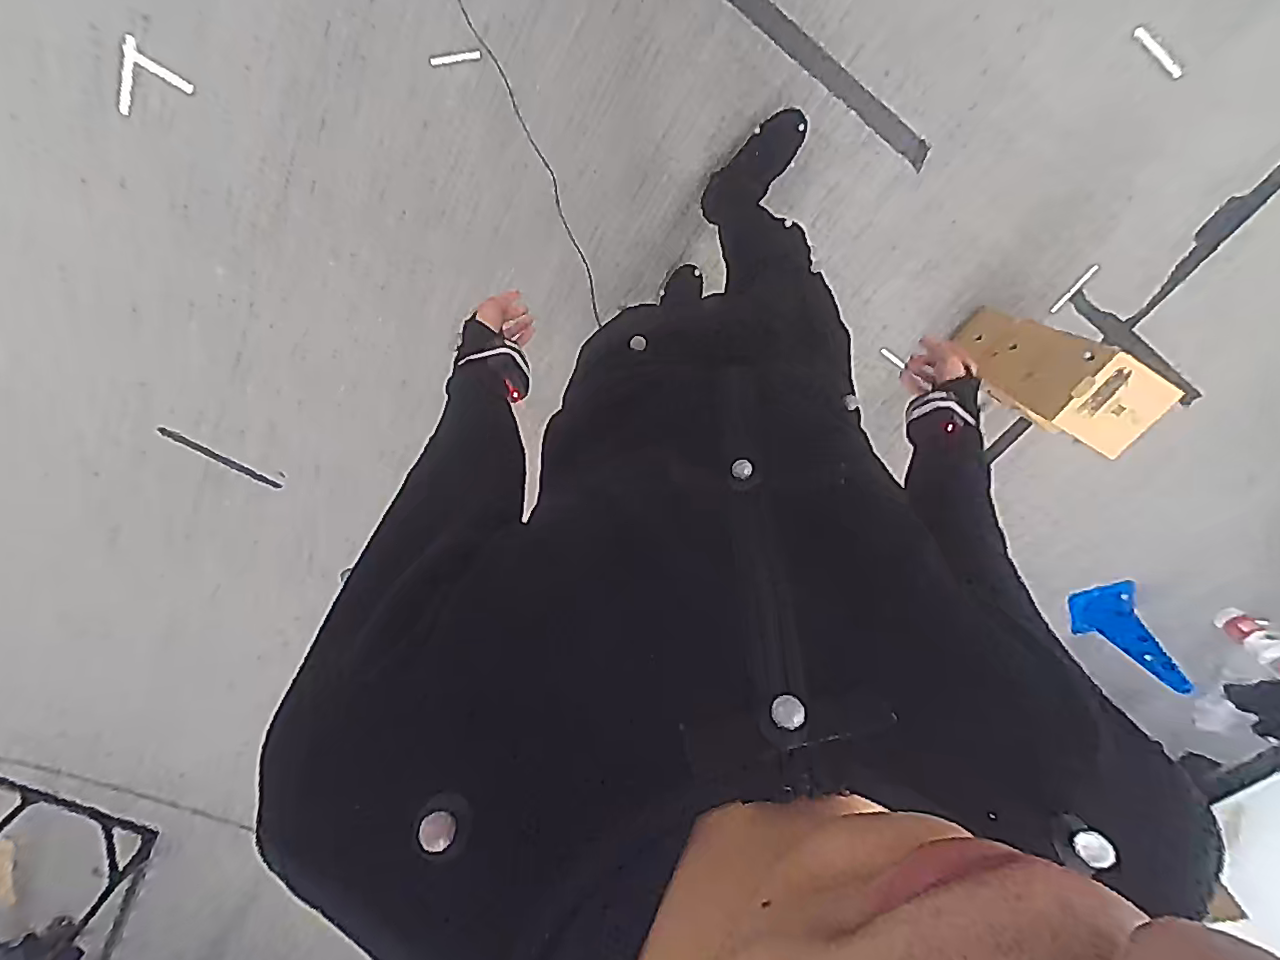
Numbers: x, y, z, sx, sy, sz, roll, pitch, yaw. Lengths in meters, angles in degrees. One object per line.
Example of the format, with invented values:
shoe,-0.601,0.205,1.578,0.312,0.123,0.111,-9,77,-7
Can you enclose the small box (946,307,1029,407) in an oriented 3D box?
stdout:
small box,0.939,-0.326,1.413,0.168,0.176,0.179,29,115,-11

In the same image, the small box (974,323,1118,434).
small box,0.942,-0.246,1.271,0.179,0.176,0.168,33,116,-13
